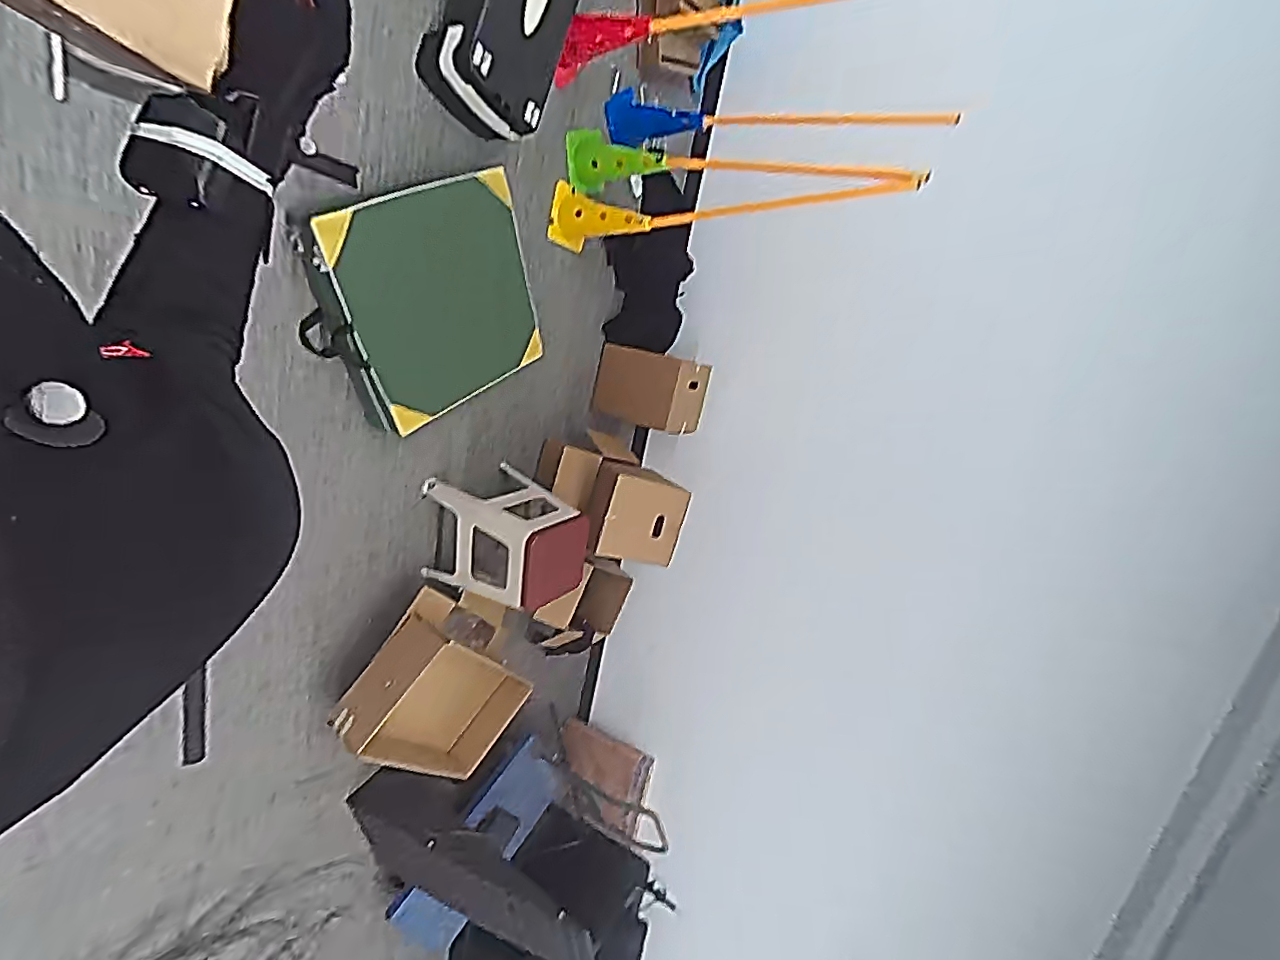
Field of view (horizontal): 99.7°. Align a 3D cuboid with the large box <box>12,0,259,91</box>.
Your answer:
[{"bbox_3d":[-0.459,-0.518,0.293,0.408,0.320,0.320,14,107,-60],"label":"large box"}]
